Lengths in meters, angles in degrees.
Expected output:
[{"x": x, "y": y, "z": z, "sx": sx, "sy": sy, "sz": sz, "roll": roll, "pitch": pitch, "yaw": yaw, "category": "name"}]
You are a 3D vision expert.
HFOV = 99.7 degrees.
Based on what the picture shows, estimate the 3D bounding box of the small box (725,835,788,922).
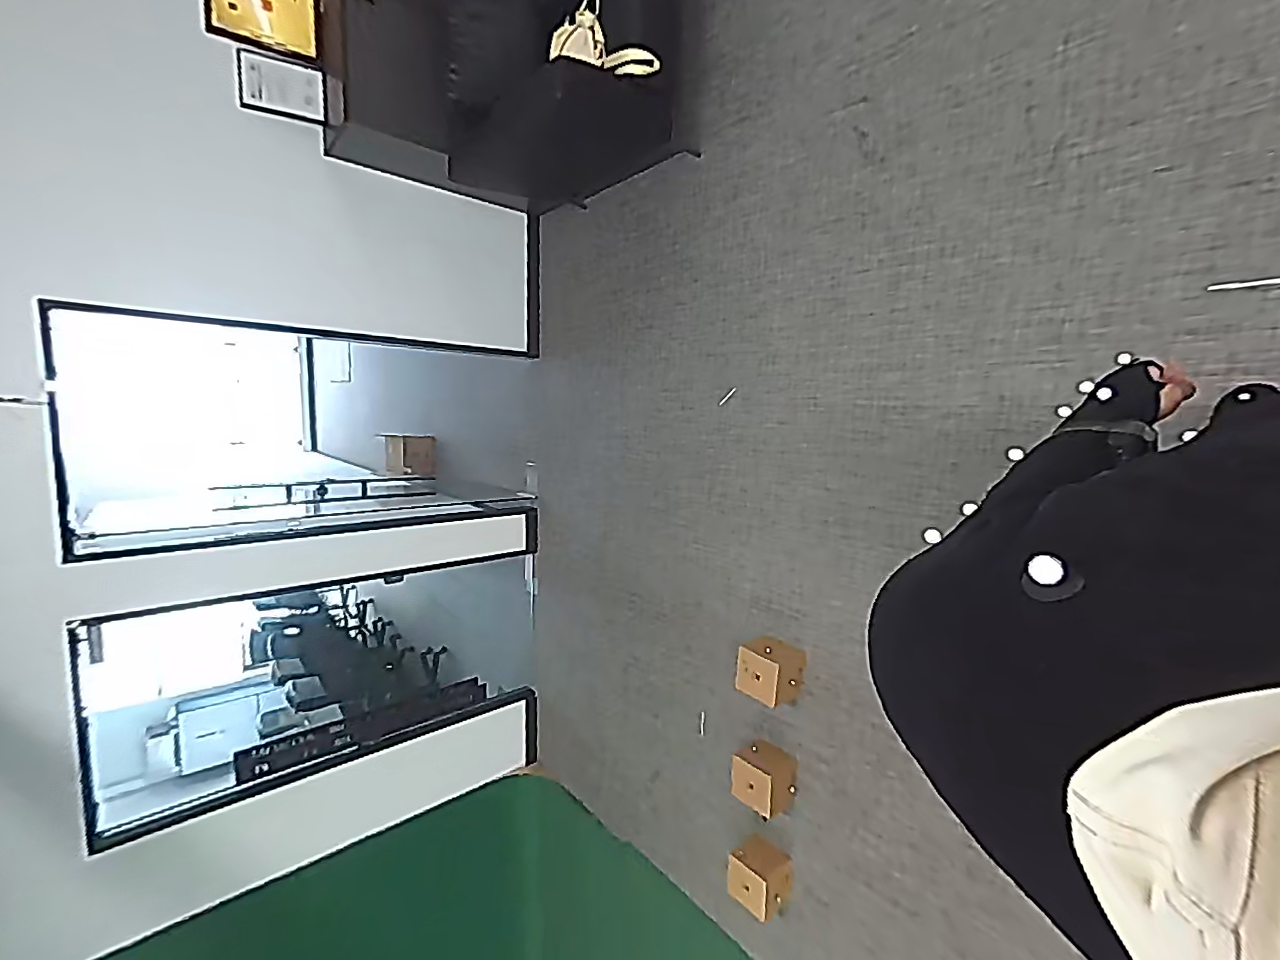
[{"x": 0.443, "y": 1.496, "z": 2.045, "sx": 0.179, "sy": 0.176, "sz": 0.168, "roll": 8, "pitch": 100, "yaw": 50, "category": "small box"}]

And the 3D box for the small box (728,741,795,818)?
[{"x": 0.449, "y": 1.098, "z": 2.005, "sx": 0.179, "sy": 0.176, "sz": 0.168, "roll": 8, "pitch": 100, "yaw": 48, "category": "small box"}]

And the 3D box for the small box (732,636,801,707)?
[{"x": 0.458, "y": 0.682, "z": 1.956, "sx": 0.179, "sy": 0.176, "sz": 0.168, "roll": 15, "pitch": 104, "yaw": 48, "category": "small box"}]
